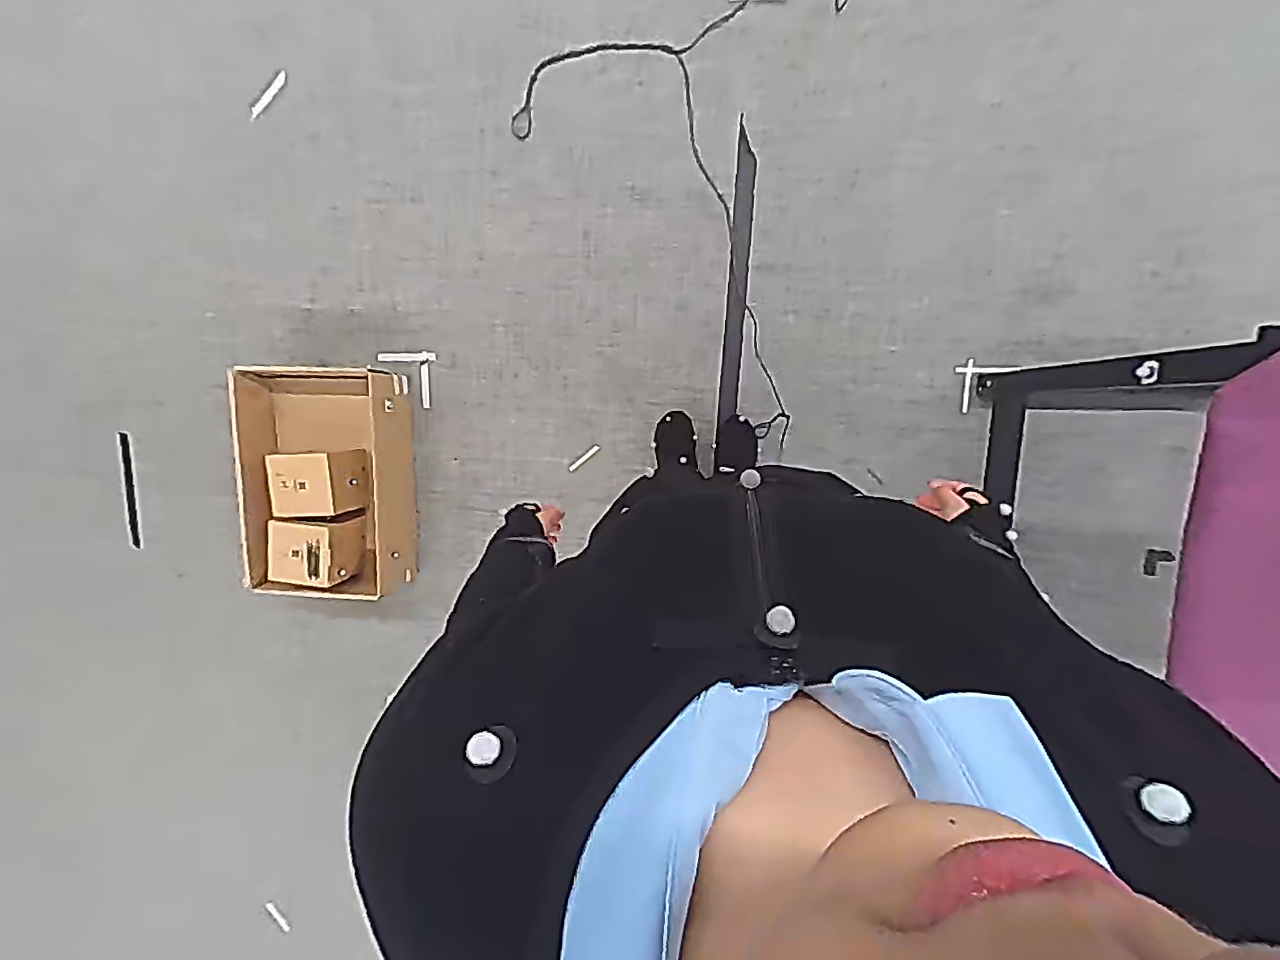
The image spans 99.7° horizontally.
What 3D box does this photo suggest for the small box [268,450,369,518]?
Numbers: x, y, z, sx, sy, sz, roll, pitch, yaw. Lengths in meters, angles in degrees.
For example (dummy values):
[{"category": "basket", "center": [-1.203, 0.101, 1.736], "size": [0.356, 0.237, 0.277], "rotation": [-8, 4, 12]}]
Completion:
[{"category": "small box", "center": [-0.869, 0.008, 1.483], "size": [0.179, 0.176, 0.168], "rotation": [-2, 97, 6]}]
